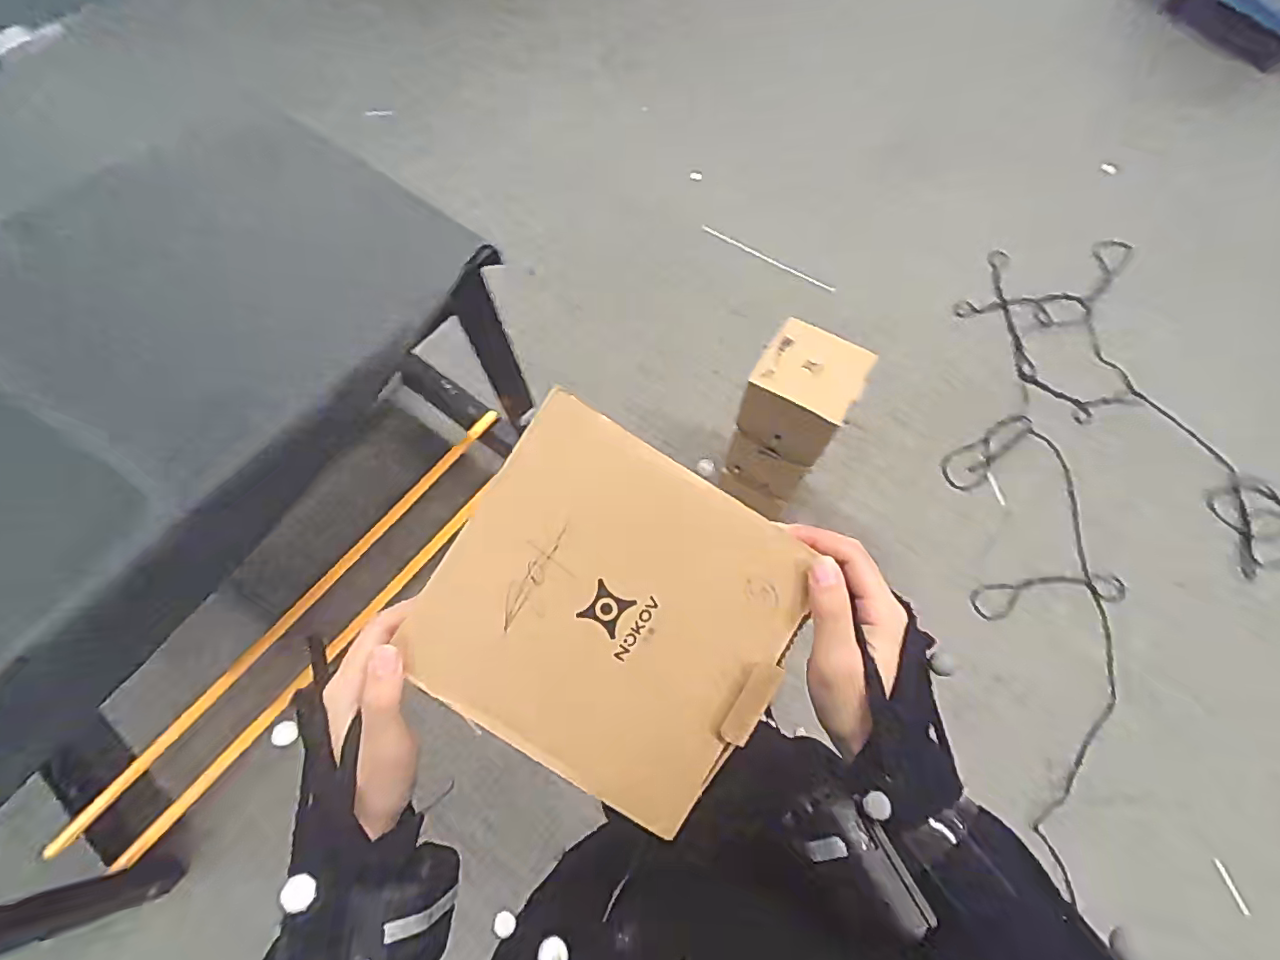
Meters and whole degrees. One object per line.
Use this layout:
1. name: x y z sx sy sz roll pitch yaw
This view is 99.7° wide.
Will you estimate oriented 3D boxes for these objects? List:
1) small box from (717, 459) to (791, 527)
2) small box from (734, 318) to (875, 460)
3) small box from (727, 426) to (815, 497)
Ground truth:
1. small box: 0.297 -0.016 1.308 0.168 0.176 0.179 29 71 14
2. small box: 0.298 -0.160 1.013 0.179 0.176 0.168 30 70 13
3. small box: 0.300 -0.091 1.161 0.168 0.176 0.179 30 69 13
